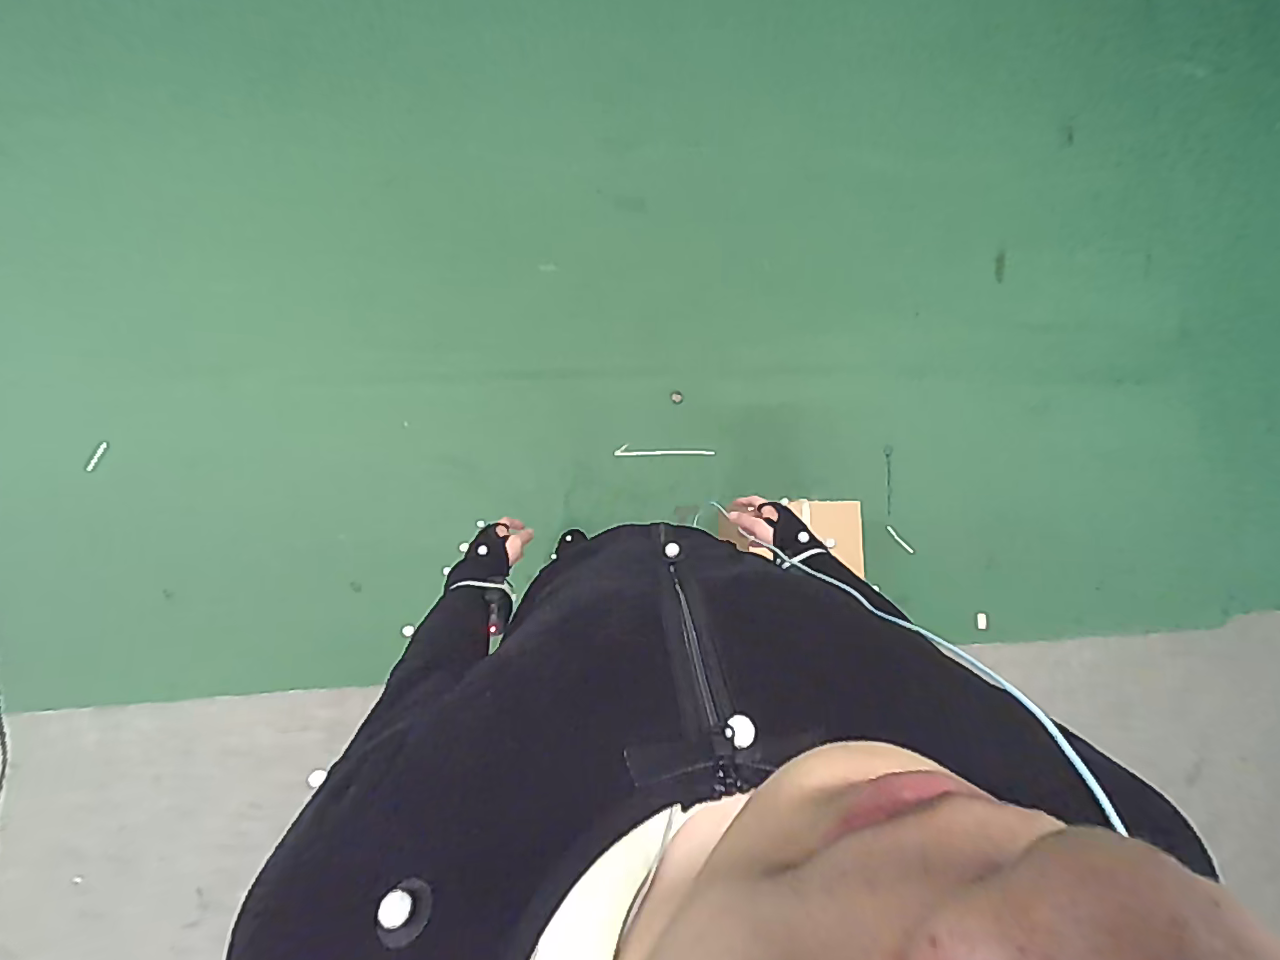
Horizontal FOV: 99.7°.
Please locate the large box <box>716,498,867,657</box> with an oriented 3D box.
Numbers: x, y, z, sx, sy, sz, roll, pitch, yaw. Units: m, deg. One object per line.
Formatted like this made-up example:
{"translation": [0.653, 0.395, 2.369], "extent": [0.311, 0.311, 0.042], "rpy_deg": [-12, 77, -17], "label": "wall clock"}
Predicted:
{"translation": [0.414, 0.263, 1.552], "extent": [0.320, 0.320, 0.408], "rpy_deg": [-1, 85, -7], "label": "large box"}
